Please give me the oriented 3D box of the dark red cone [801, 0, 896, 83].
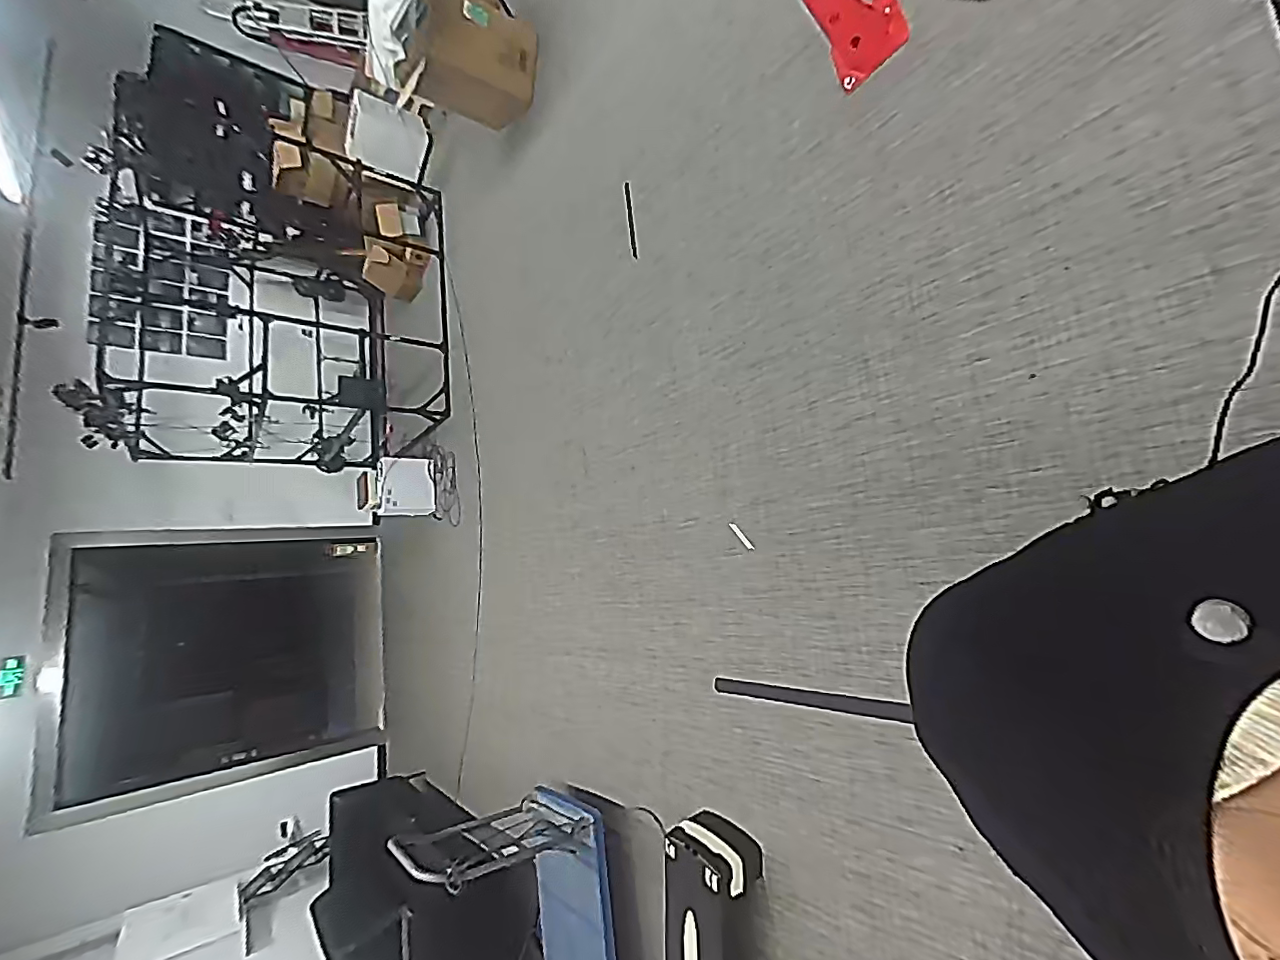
[{"bbox_3d":[0.488,-1.276,1.430,0.201,0.394,0.202,-27,67,47],"label":"dark red cone"}]
